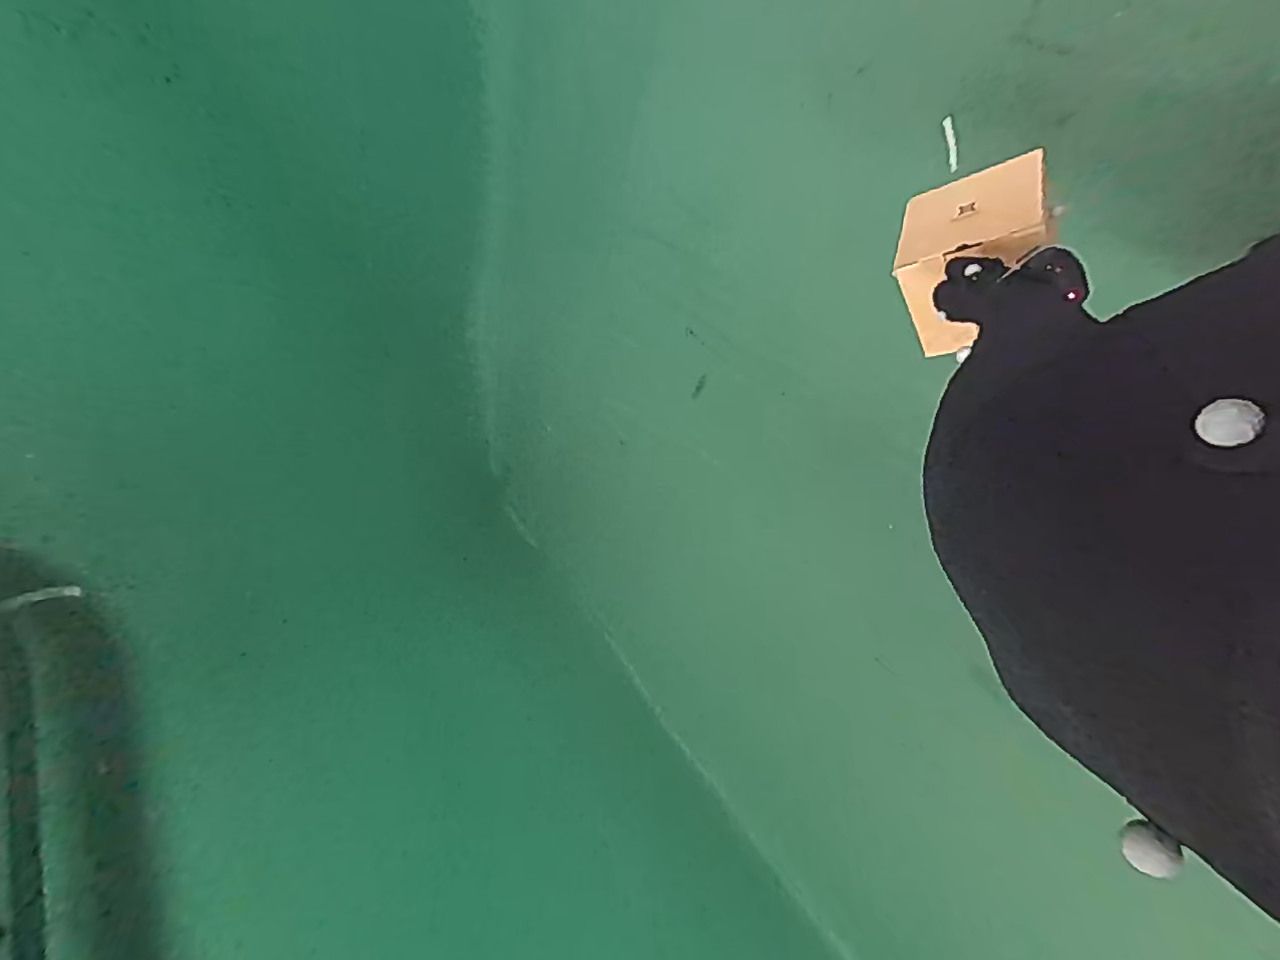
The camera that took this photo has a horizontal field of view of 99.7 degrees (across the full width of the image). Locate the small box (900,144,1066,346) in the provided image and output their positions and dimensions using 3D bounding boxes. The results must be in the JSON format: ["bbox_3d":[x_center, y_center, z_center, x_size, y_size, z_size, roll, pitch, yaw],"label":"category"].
[{"bbox_3d":[0.493,-0.323,0.771,0.168,0.179,0.176,-5,141,43],"label":"small box"}]
